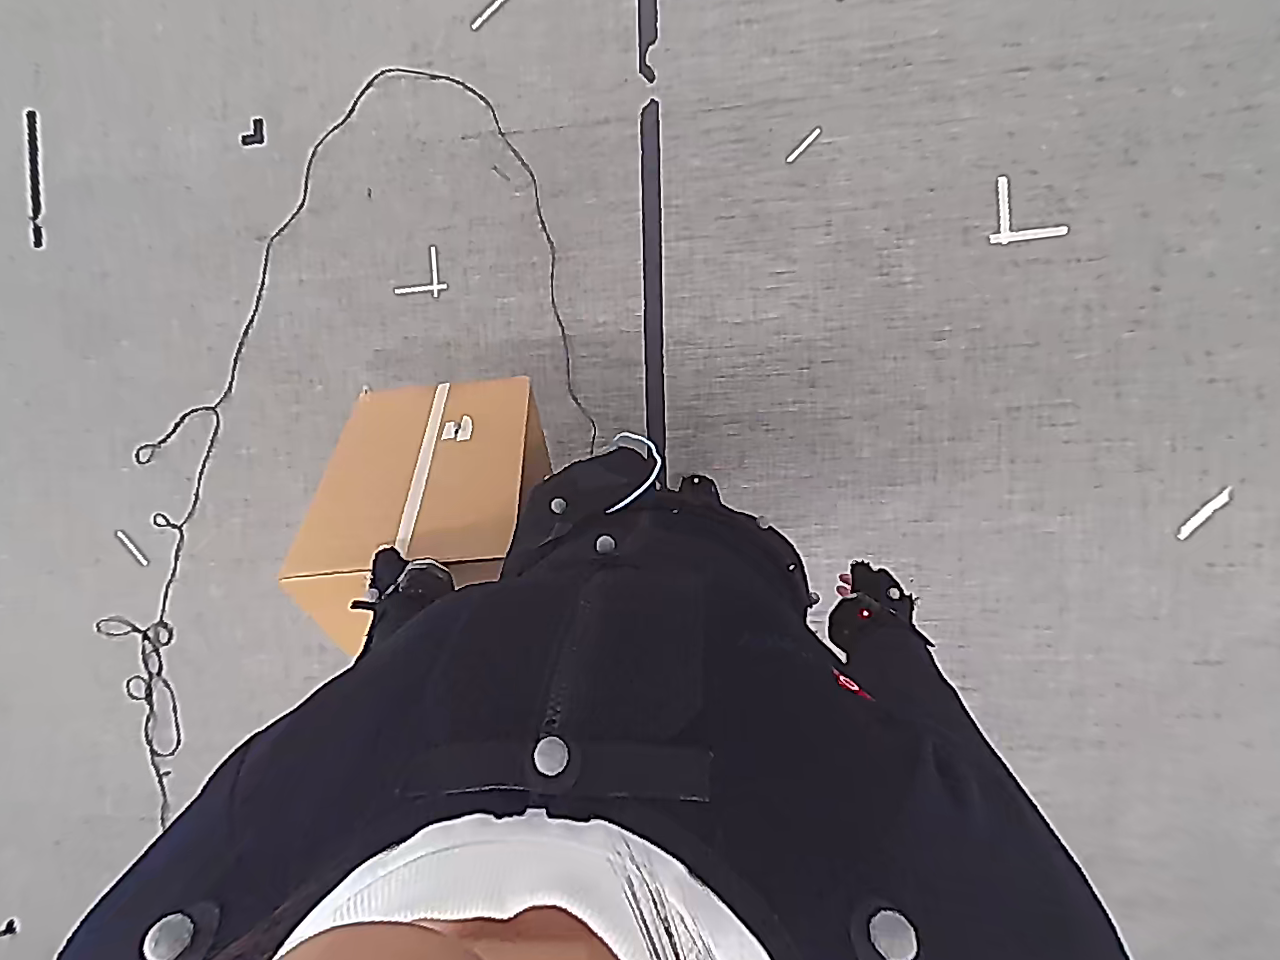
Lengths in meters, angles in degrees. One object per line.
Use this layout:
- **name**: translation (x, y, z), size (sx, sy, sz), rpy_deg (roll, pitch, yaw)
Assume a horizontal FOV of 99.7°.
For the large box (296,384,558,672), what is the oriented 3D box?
- **large box**: translation (-0.329, 0.081, 0.980), size (0.320, 0.408, 0.320), rpy_deg (-5, 136, -1)
